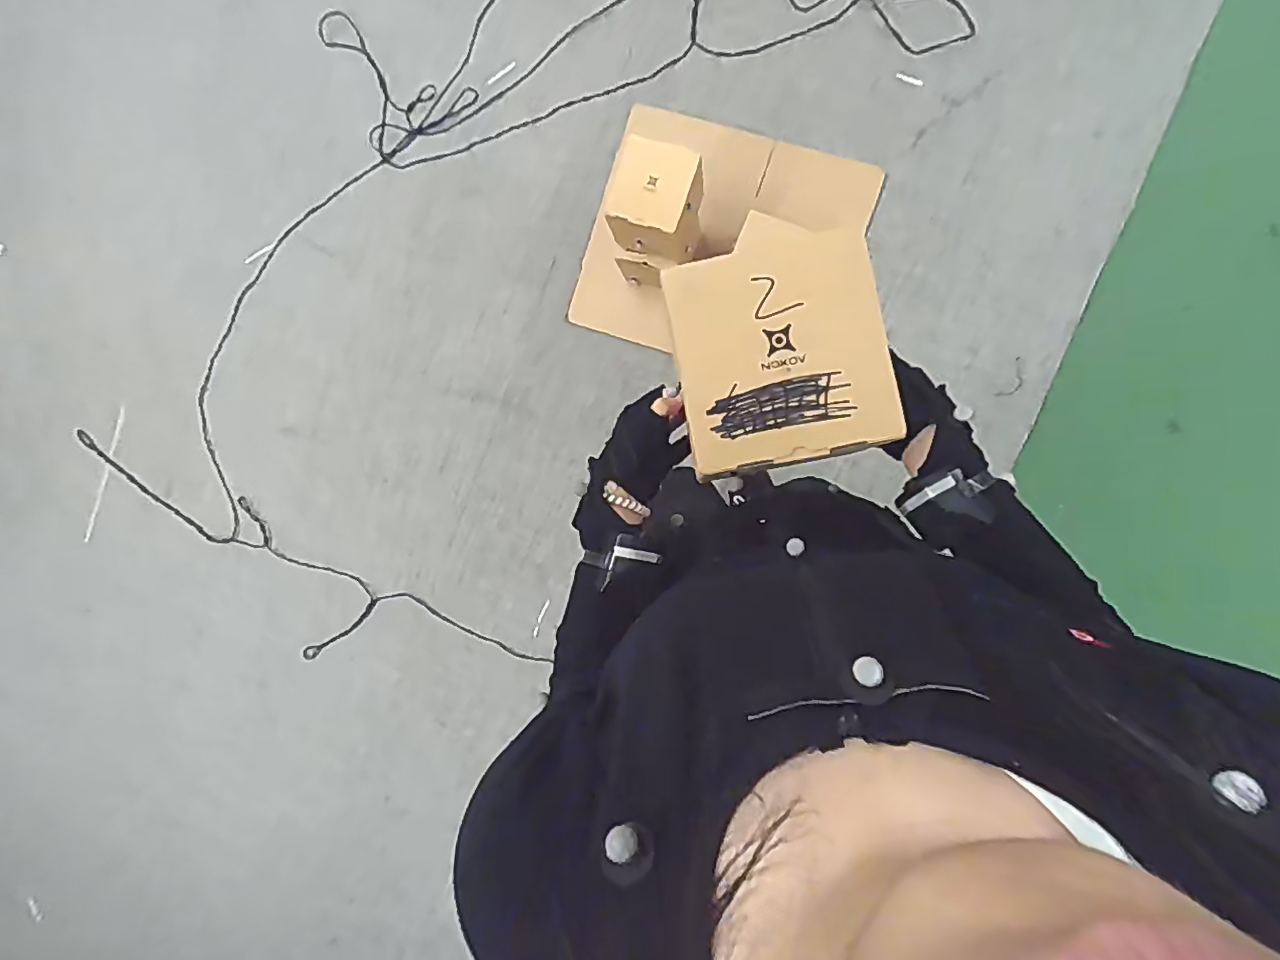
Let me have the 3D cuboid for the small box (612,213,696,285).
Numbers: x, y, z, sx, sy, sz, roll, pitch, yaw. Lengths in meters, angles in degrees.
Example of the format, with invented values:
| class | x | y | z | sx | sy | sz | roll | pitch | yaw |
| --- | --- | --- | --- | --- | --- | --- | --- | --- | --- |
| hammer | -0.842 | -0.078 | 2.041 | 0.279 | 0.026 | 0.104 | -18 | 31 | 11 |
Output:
| class | x | y | z | sx | sy | sz | roll | pitch | yaw |
| --- | --- | --- | --- | --- | --- | --- | --- | --- | --- |
| small box | 0.043 | -0.619 | 1.377 | 0.168 | 0.176 | 0.179 | 17 | 94 | 7 |

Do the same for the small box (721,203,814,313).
| class | x | y | z | sx | sy | sz | roll | pitch | yaw |
| --- | --- | --- | --- | --- | --- | --- | --- | --- | --- |
| small box | 0.309 | -0.543 | 1.345 | 0.168 | 0.176 | 0.179 | 24 | 96 | 8 |

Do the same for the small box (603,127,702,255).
| class | x | y | z | sx | sy | sz | roll | pitch | yaw |
| --- | --- | --- | --- | --- | --- | --- | --- | --- | --- |
| small box | 0.033 | -0.638 | 1.213 | 0.168 | 0.176 | 0.179 | 20 | 95 | 7 |
